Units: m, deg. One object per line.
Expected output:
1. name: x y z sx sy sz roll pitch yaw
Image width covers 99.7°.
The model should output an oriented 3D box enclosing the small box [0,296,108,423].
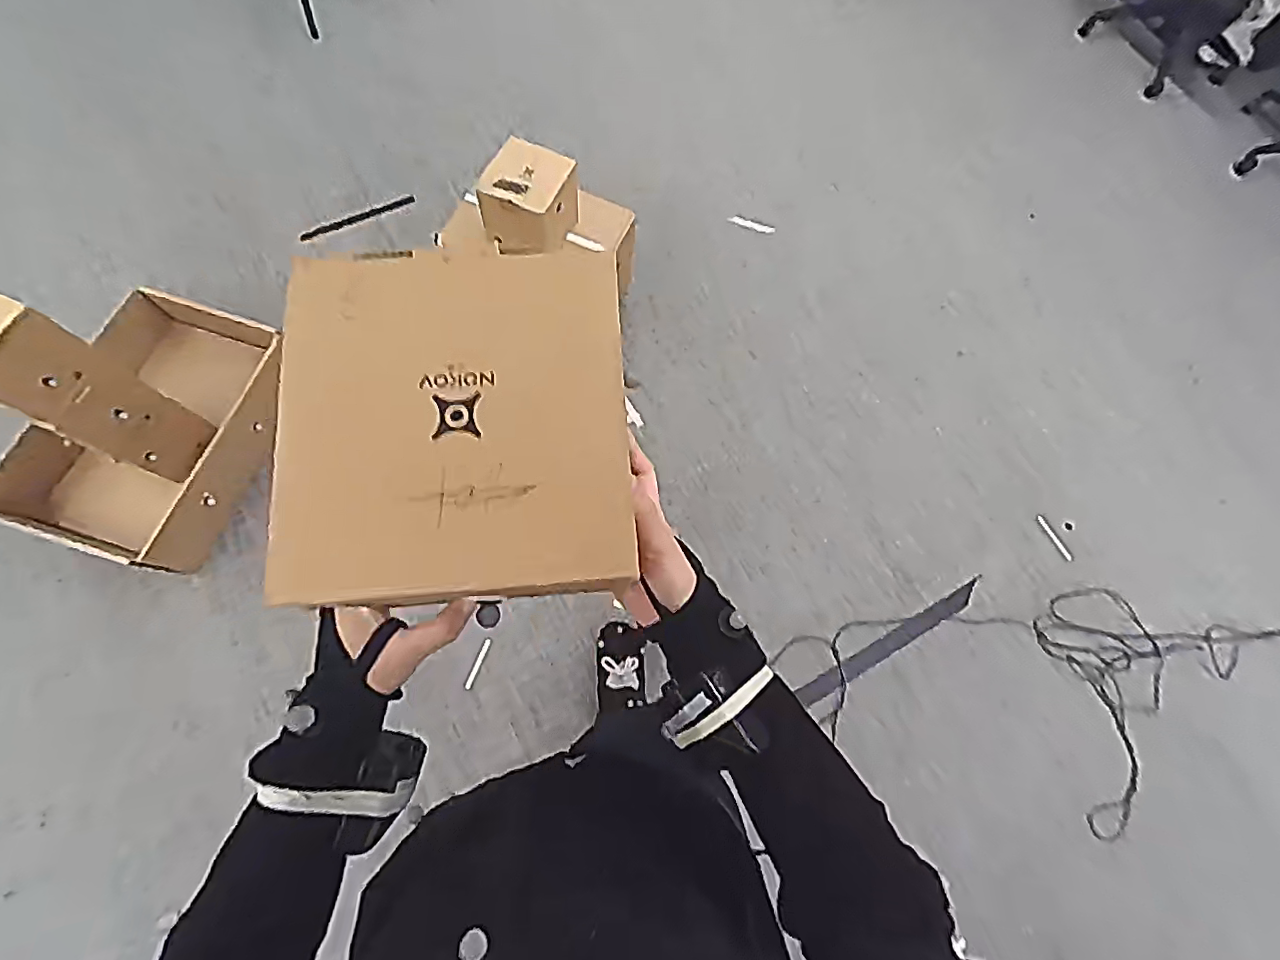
1. small box: -1.162 -0.227 0.986 0.179 0.176 0.168 21 70 3

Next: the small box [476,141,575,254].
1. small box: -0.258 -0.640 1.271 0.168 0.176 0.179 23 70 2

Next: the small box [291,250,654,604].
1. small box: -0.087 -0.017 0.344 0.168 0.176 0.179 -5 77 -5

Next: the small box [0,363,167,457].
1. small box: -1.169 -0.165 1.137 0.179 0.176 0.168 22 70 3
